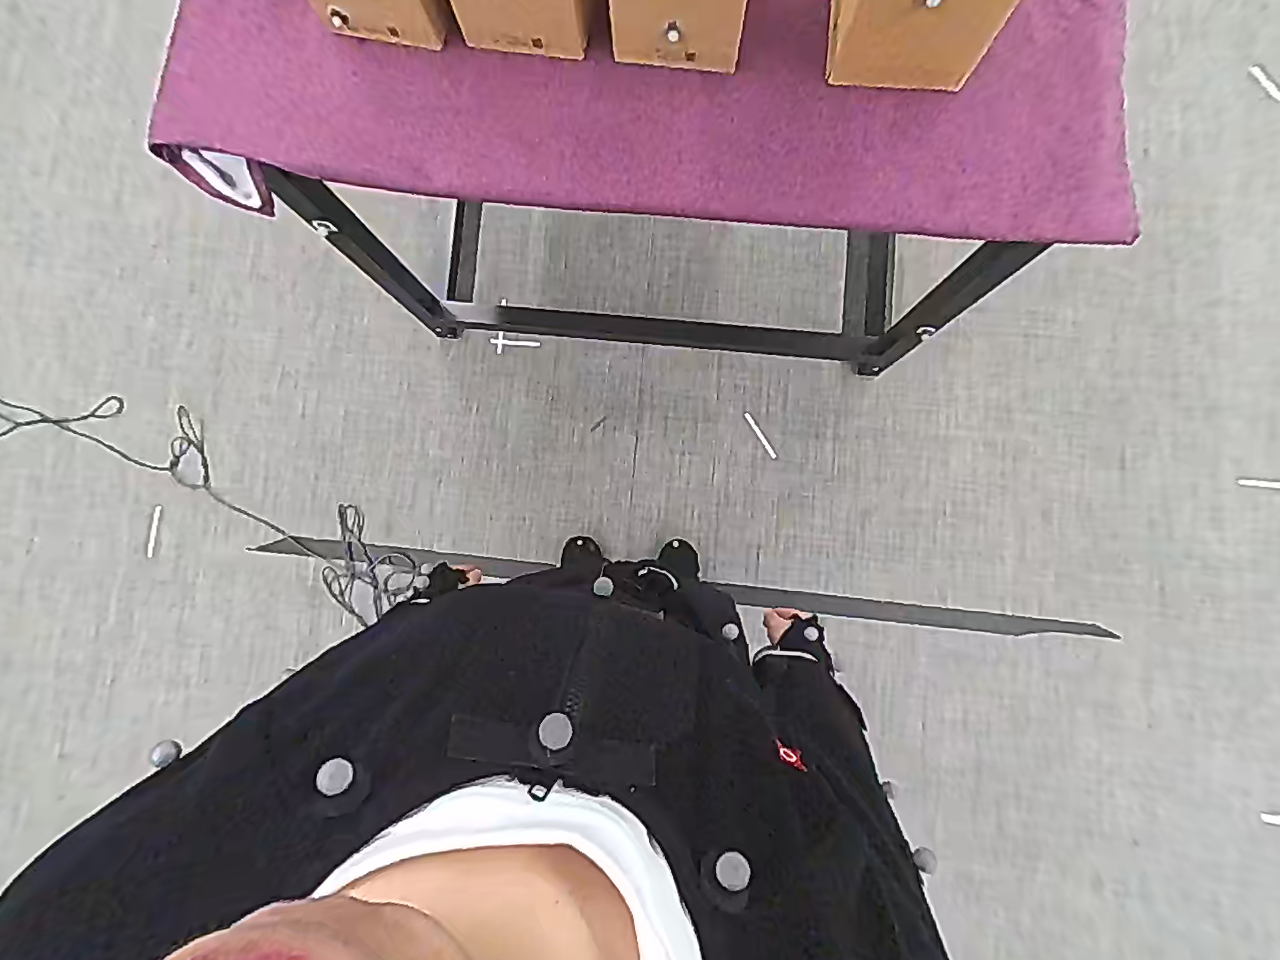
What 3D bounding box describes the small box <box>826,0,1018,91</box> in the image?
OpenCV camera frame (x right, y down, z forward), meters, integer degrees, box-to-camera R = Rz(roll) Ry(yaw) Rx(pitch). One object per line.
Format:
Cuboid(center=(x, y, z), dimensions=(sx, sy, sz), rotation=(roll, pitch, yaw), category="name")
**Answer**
Cuboid(center=(0.340, -0.606, 0.646), dimensions=(0.179, 0.176, 0.168), rotation=(5, 83, 3), category="small box")
